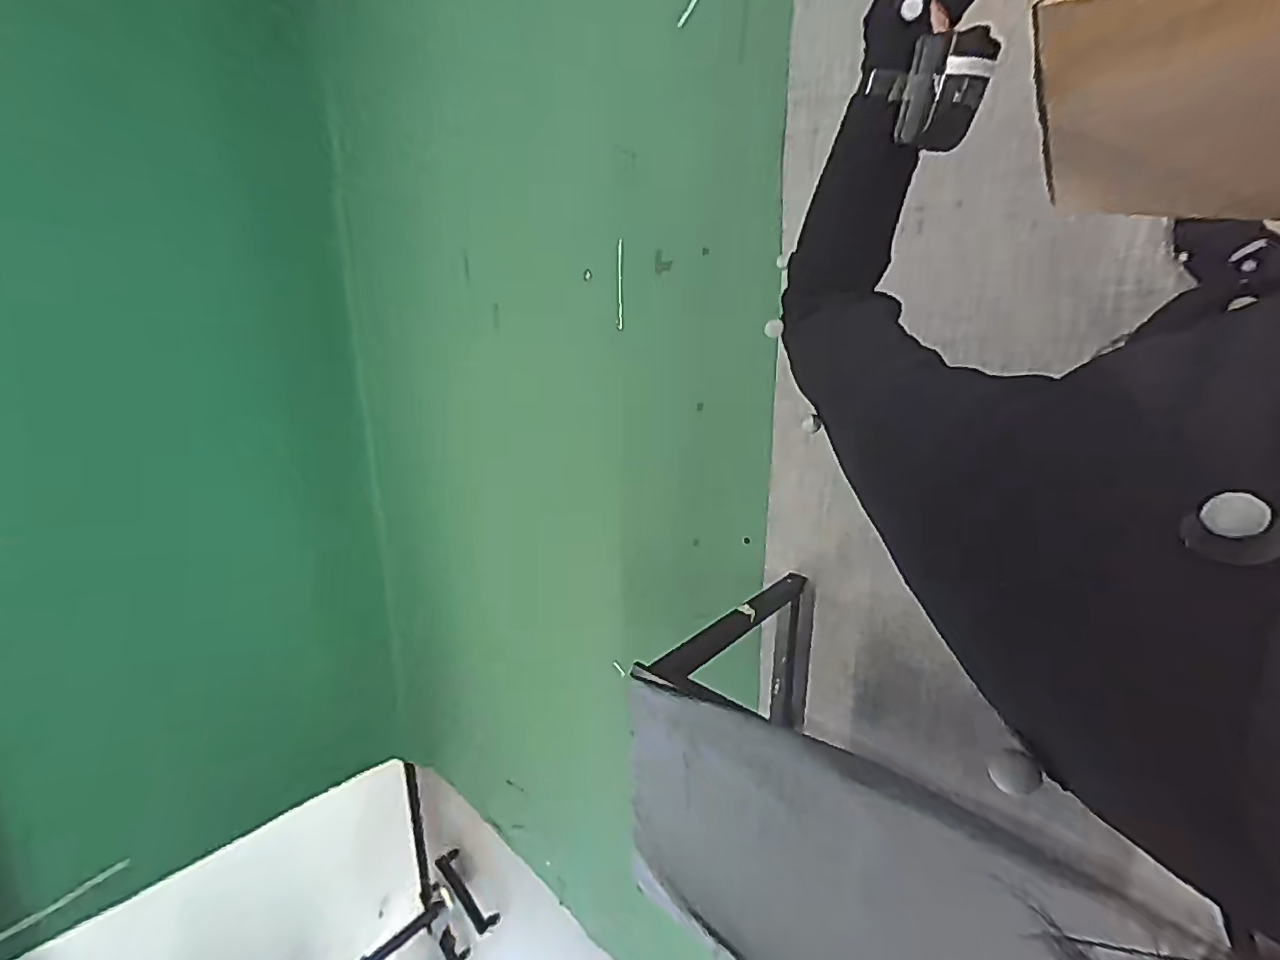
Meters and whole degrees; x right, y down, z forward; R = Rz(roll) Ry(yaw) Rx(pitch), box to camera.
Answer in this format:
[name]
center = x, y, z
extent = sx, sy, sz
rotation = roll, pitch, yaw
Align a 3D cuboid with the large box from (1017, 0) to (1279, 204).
[large box]
center = 0.484, -0.346, 0.261
extent = 0.408, 0.320, 0.320
rotation = 24, 106, 37
